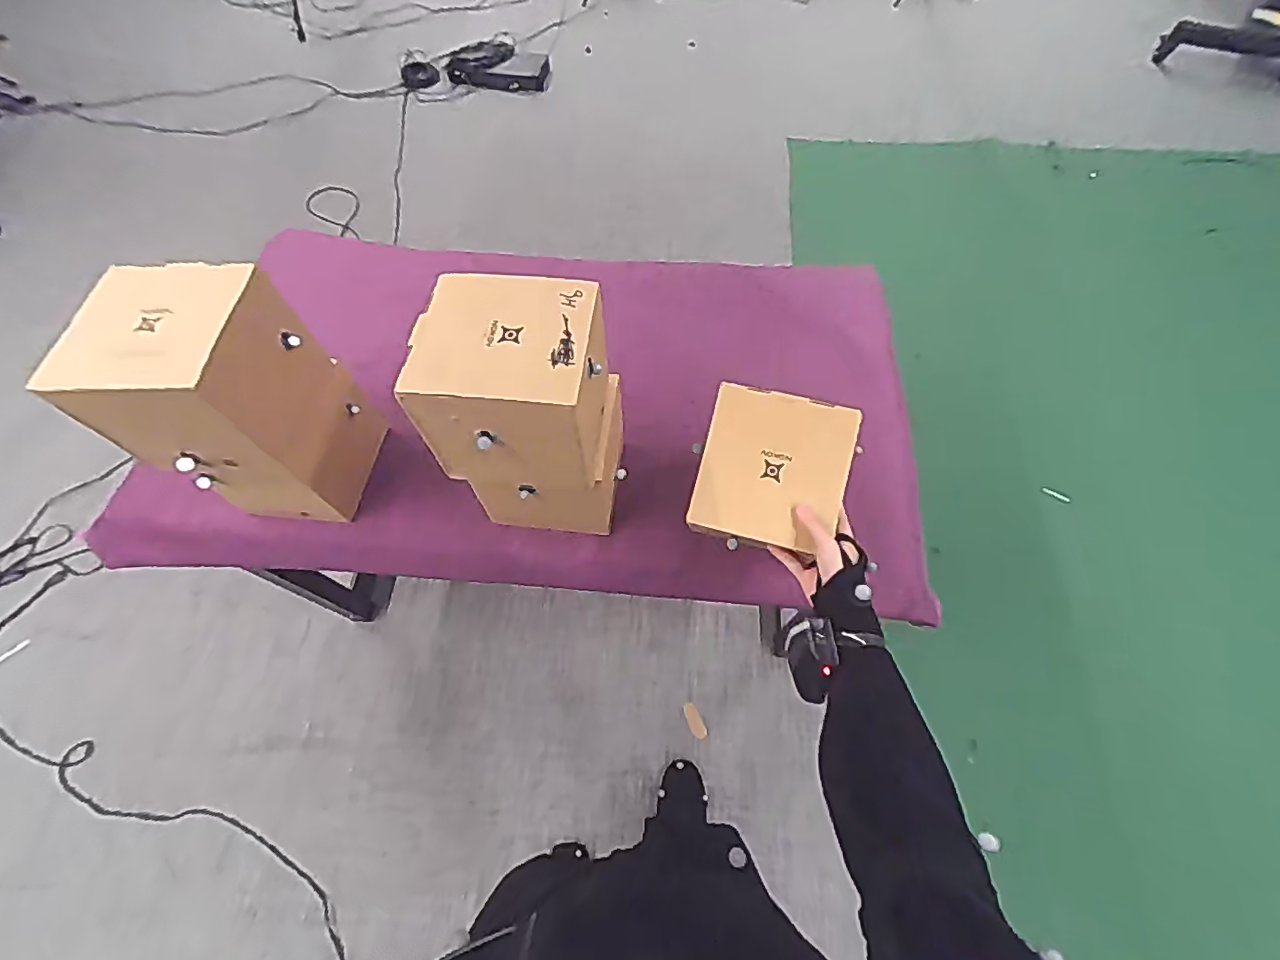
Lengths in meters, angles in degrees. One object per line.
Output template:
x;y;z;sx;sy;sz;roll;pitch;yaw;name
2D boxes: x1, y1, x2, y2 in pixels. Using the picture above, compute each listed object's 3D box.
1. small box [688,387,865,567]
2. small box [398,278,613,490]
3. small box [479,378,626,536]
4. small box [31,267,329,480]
0.166;0.005;0.691;0.168;0.176;0.179;15;83;9;small box
-0.131;-0.100;0.605;0.179;0.176;0.168;4;61;4;small box
-0.118;-0.033;0.755;0.179;0.176;0.168;6;61;3;small box
-0.492;-0.117;0.618;0.168;0.176;0.179;0;61;1;small box
